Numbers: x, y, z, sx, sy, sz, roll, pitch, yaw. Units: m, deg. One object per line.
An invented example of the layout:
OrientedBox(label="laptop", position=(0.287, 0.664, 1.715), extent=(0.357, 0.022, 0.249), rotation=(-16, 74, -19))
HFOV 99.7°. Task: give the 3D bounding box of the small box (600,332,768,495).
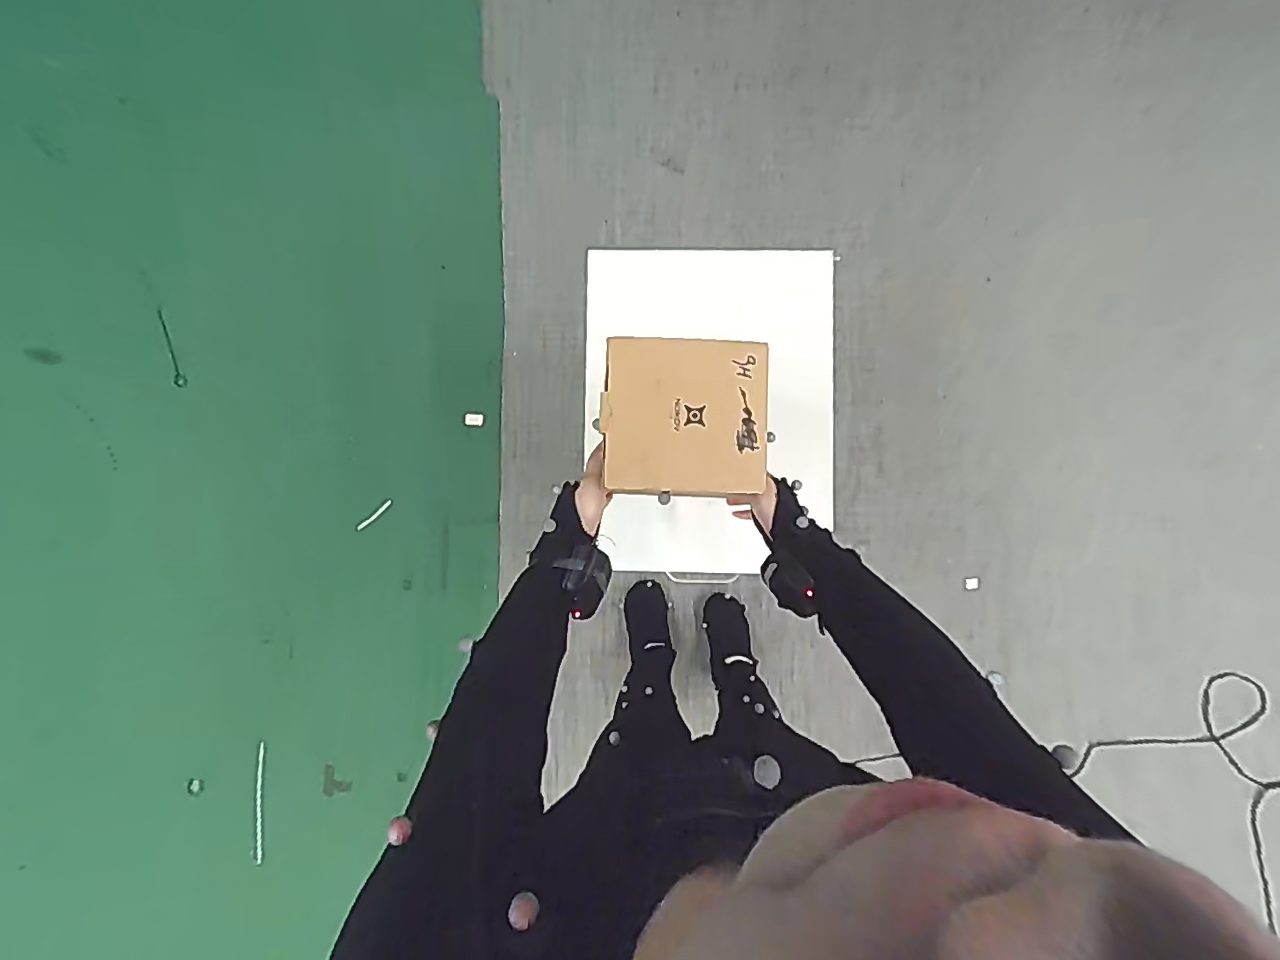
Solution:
OrientedBox(label="small box", position=(0.047, -0.069, 0.648), extent=(0.179, 0.176, 0.168), rotation=(2, 87, -1))
